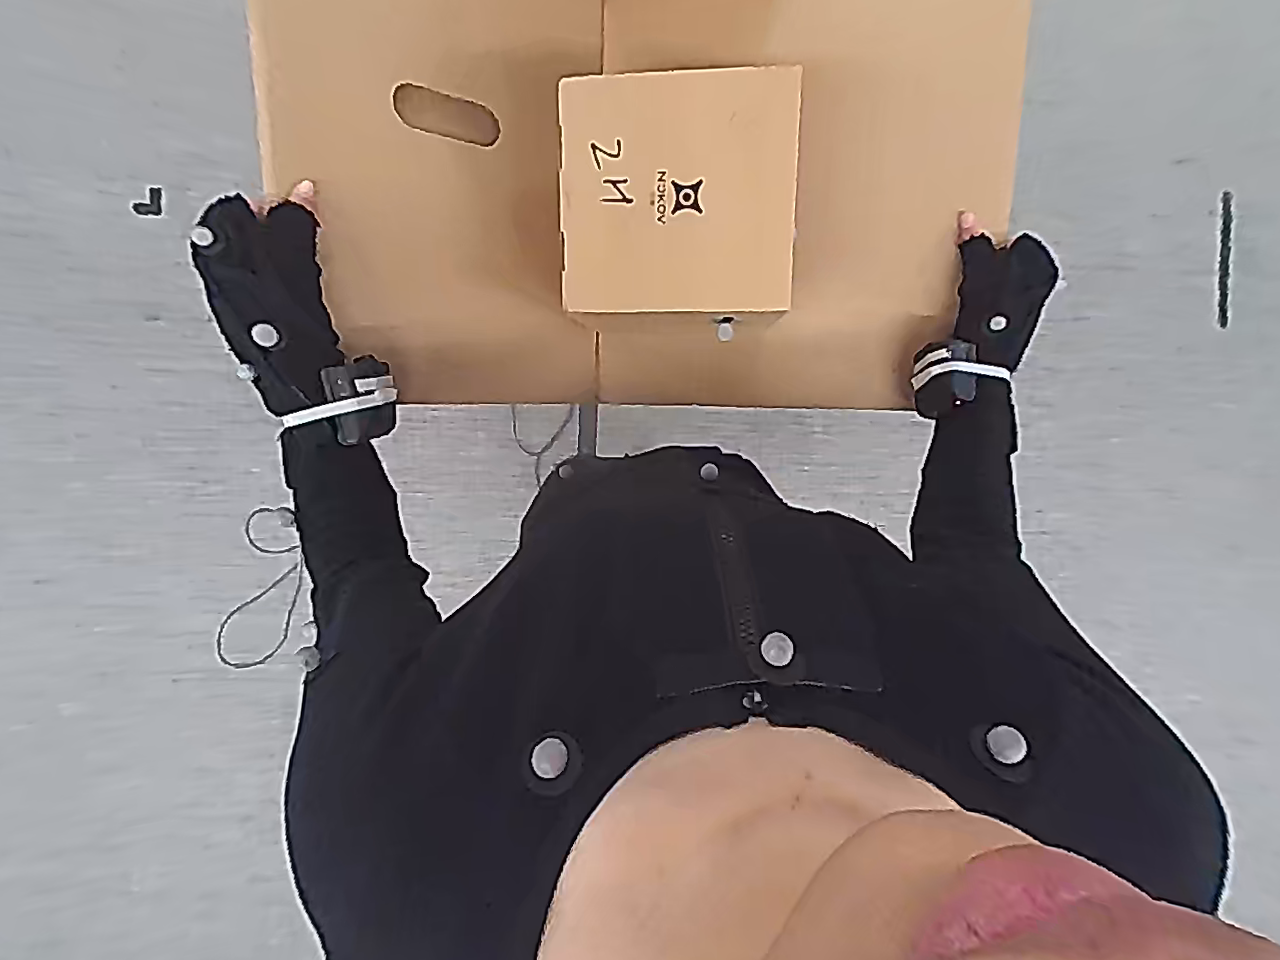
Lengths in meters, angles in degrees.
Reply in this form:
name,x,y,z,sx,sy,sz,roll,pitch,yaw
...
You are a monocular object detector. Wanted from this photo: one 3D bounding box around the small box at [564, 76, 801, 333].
name,x,y,z,sx,sy,sz,roll,pitch,yaw
small box,0.036,-0.226,0.486,0.179,0.176,0.168,2,100,6
